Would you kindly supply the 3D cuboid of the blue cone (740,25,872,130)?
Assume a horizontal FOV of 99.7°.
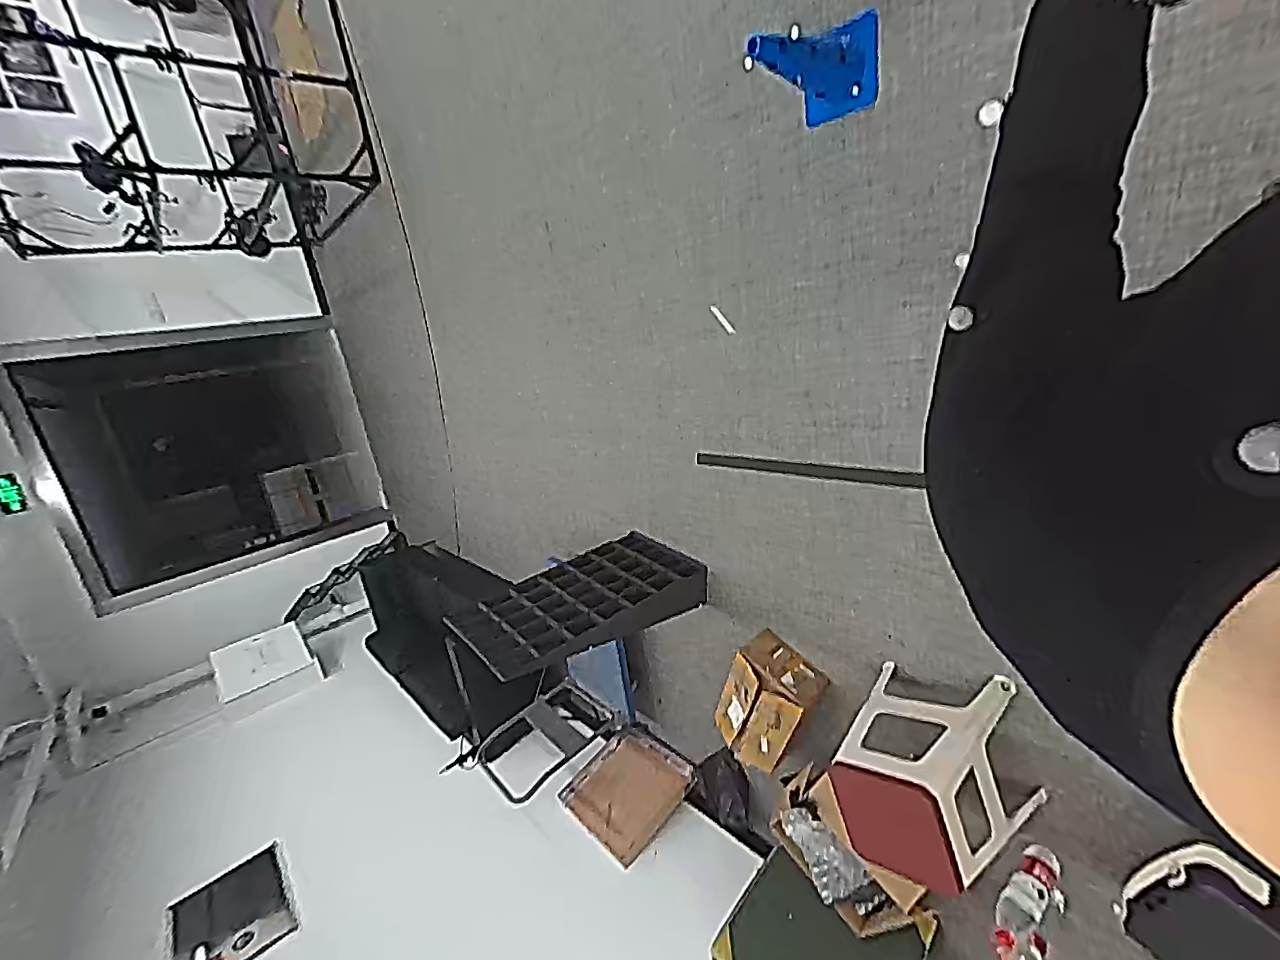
[{"bbox_3d":[0.381,-0.984,1.293,0.192,0.380,0.193,14,117,48],"label":"blue cone"}]
